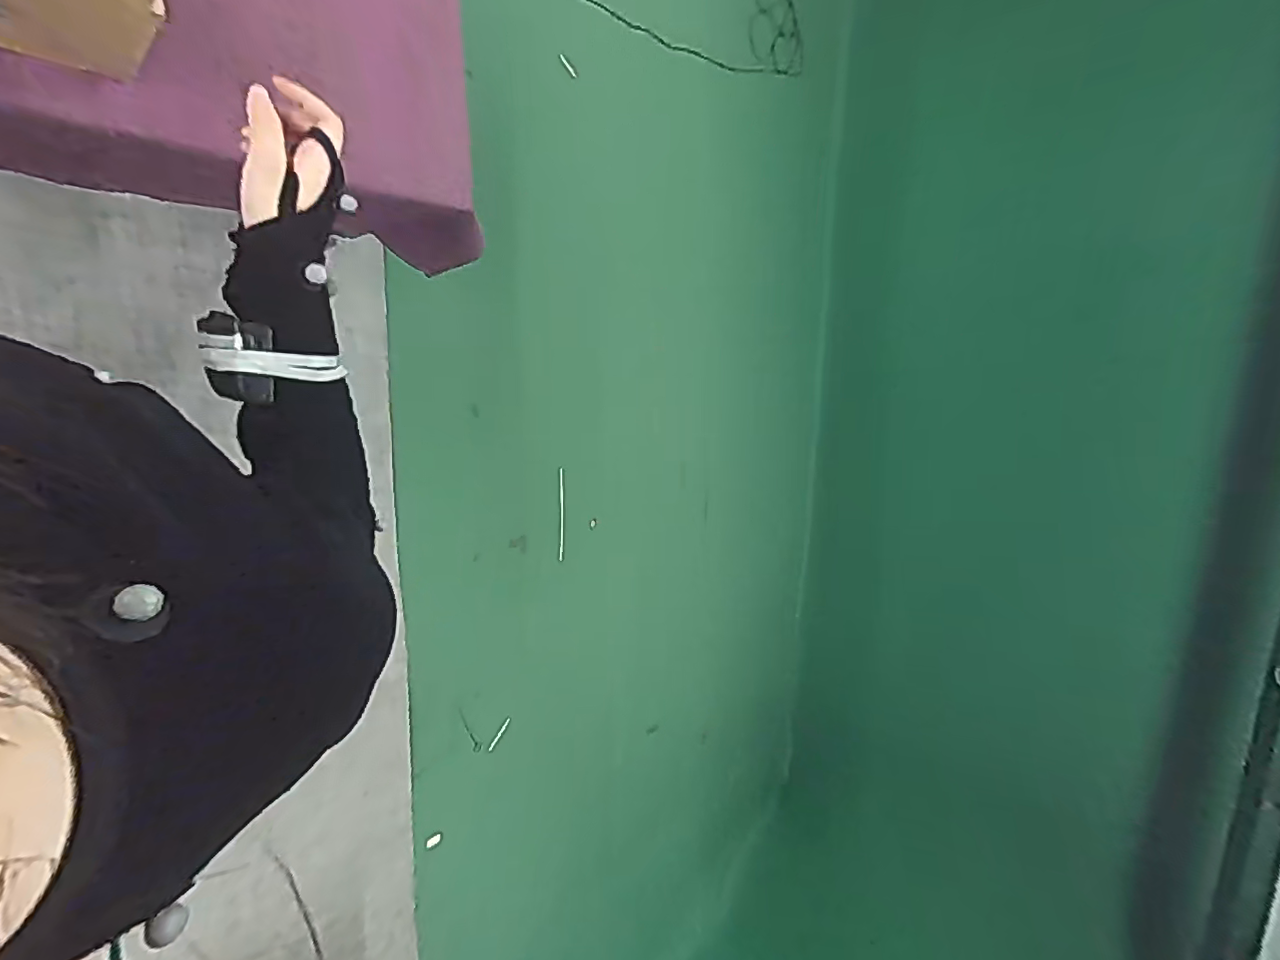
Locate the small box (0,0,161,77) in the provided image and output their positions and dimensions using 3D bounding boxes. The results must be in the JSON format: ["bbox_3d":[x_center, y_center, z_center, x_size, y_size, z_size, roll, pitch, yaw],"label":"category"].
[{"bbox_3d":[-0.526,-0.466,0.433,0.179,0.176,0.168,-16,109,-48],"label":"small box"}]
